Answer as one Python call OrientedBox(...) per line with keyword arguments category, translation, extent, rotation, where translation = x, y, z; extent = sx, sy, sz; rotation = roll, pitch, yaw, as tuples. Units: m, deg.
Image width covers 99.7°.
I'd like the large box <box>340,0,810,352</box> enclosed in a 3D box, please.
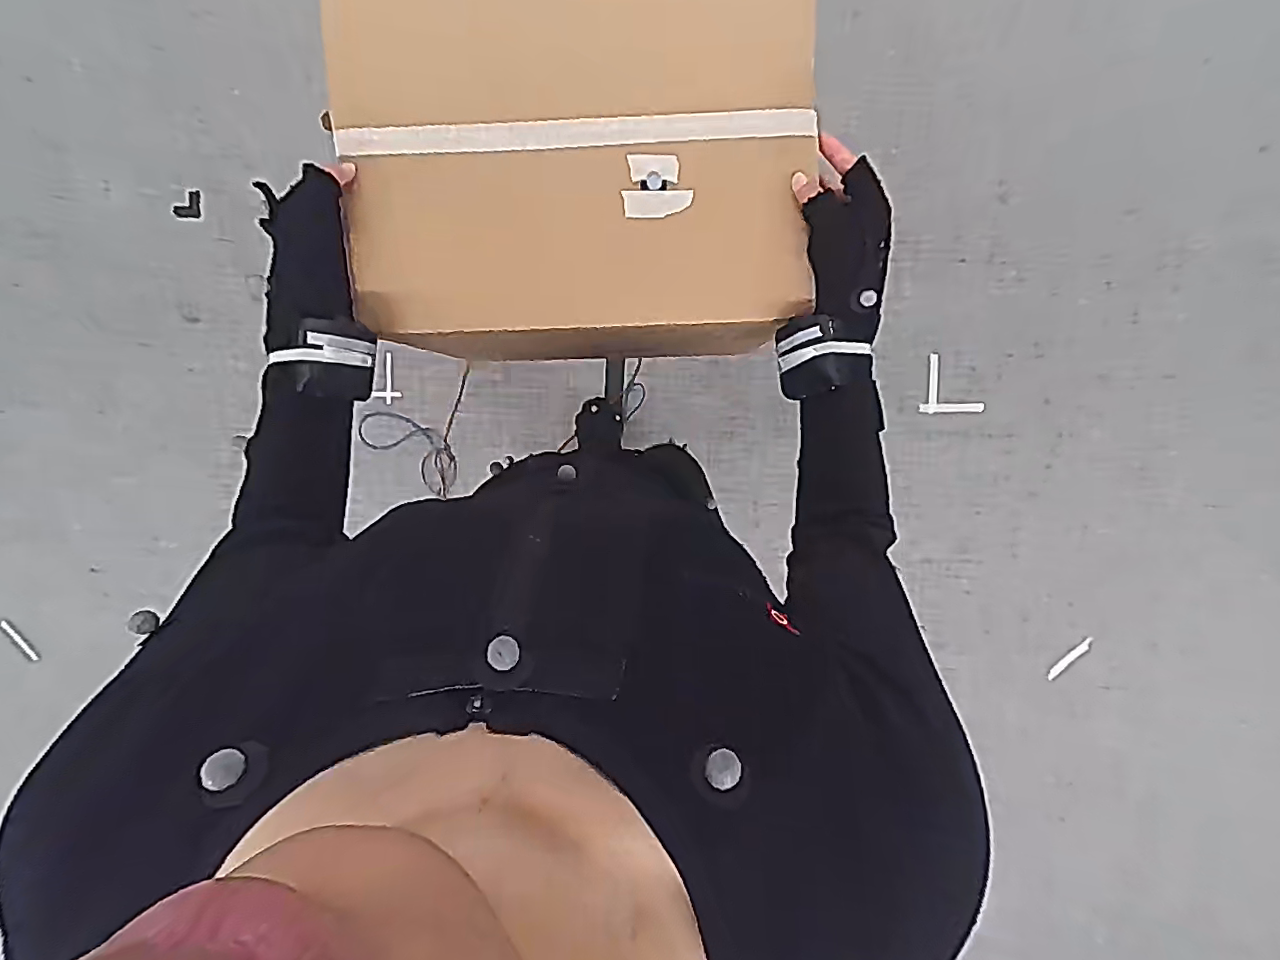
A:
OrientedBox(category="large box", translation=(-0.053, -0.325, 0.617), extent=(0.408, 0.320, 0.320), rotation=(-2, 99, 0))
